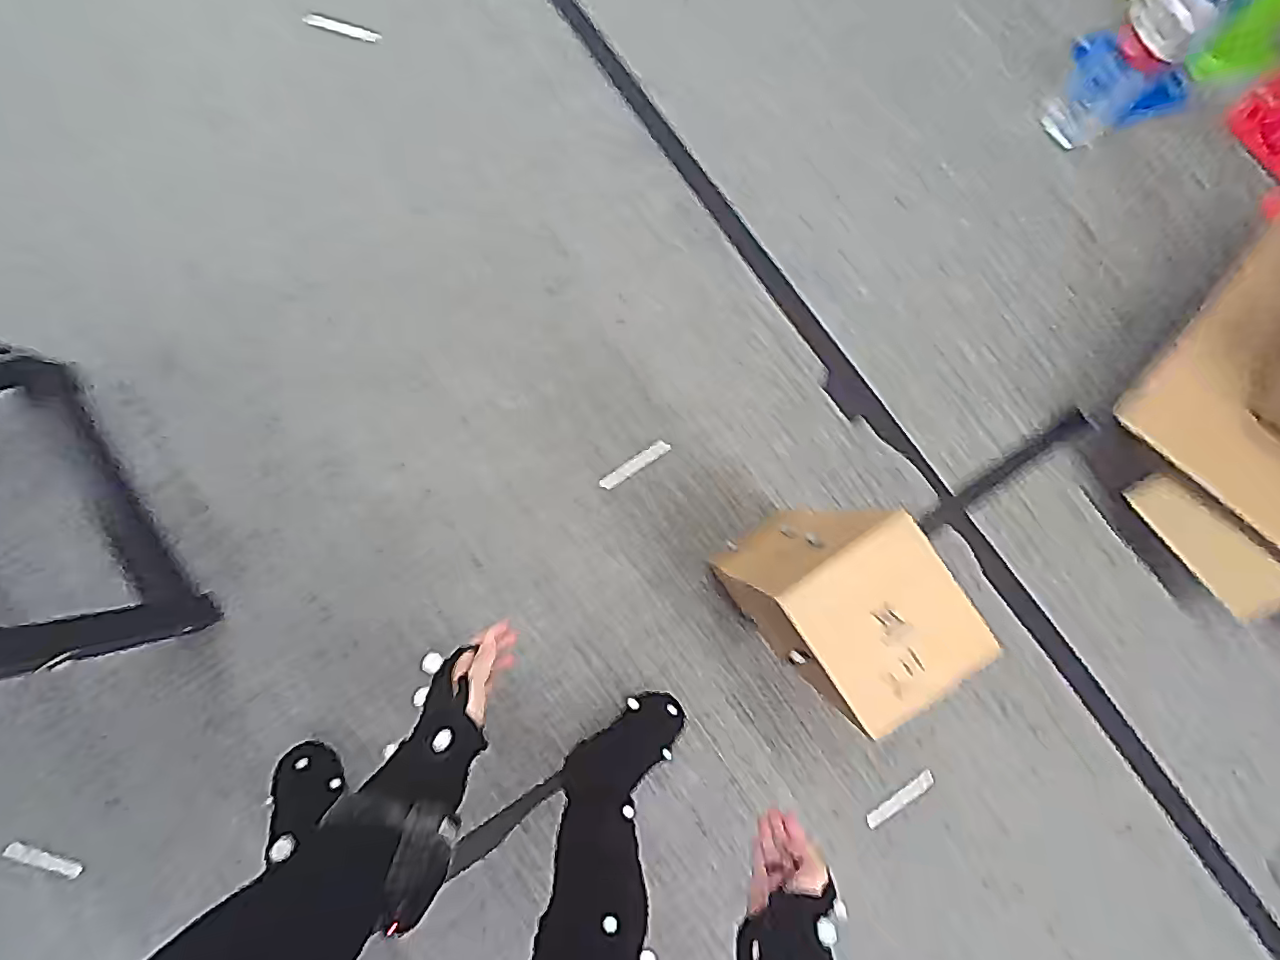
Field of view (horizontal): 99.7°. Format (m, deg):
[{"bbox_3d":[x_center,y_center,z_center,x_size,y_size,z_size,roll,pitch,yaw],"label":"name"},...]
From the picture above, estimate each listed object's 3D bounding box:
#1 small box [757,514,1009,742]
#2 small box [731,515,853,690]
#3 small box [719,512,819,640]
[{"bbox_3d":[0.262,0.155,0.629,0.168,0.176,0.179,-33,89,-3],"label":"small box"},{"bbox_3d":[0.256,0.168,0.794,0.168,0.176,0.179,-34,89,-4],"label":"small box"},{"bbox_3d":[0.256,0.173,0.956,0.179,0.176,0.168,-35,88,-5],"label":"small box"}]
